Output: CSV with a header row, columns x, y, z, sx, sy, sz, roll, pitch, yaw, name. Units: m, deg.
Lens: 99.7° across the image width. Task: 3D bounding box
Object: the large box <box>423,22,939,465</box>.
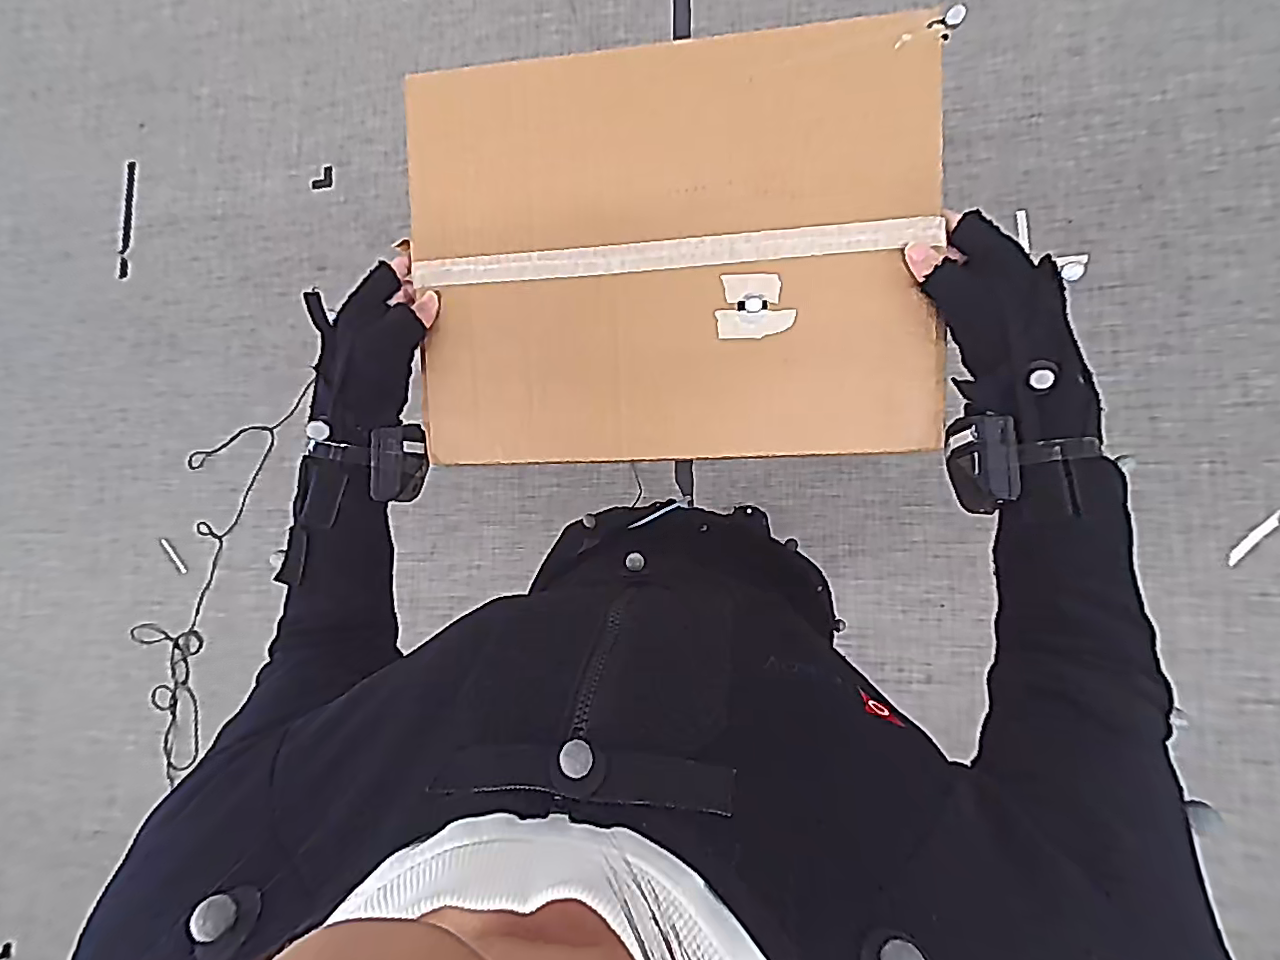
x,y,z,sx,sy,sz,roll,pitch,yaw,name
0.040,-0.184,0.576,0.408,0.320,0.320,-2,94,7,large box
